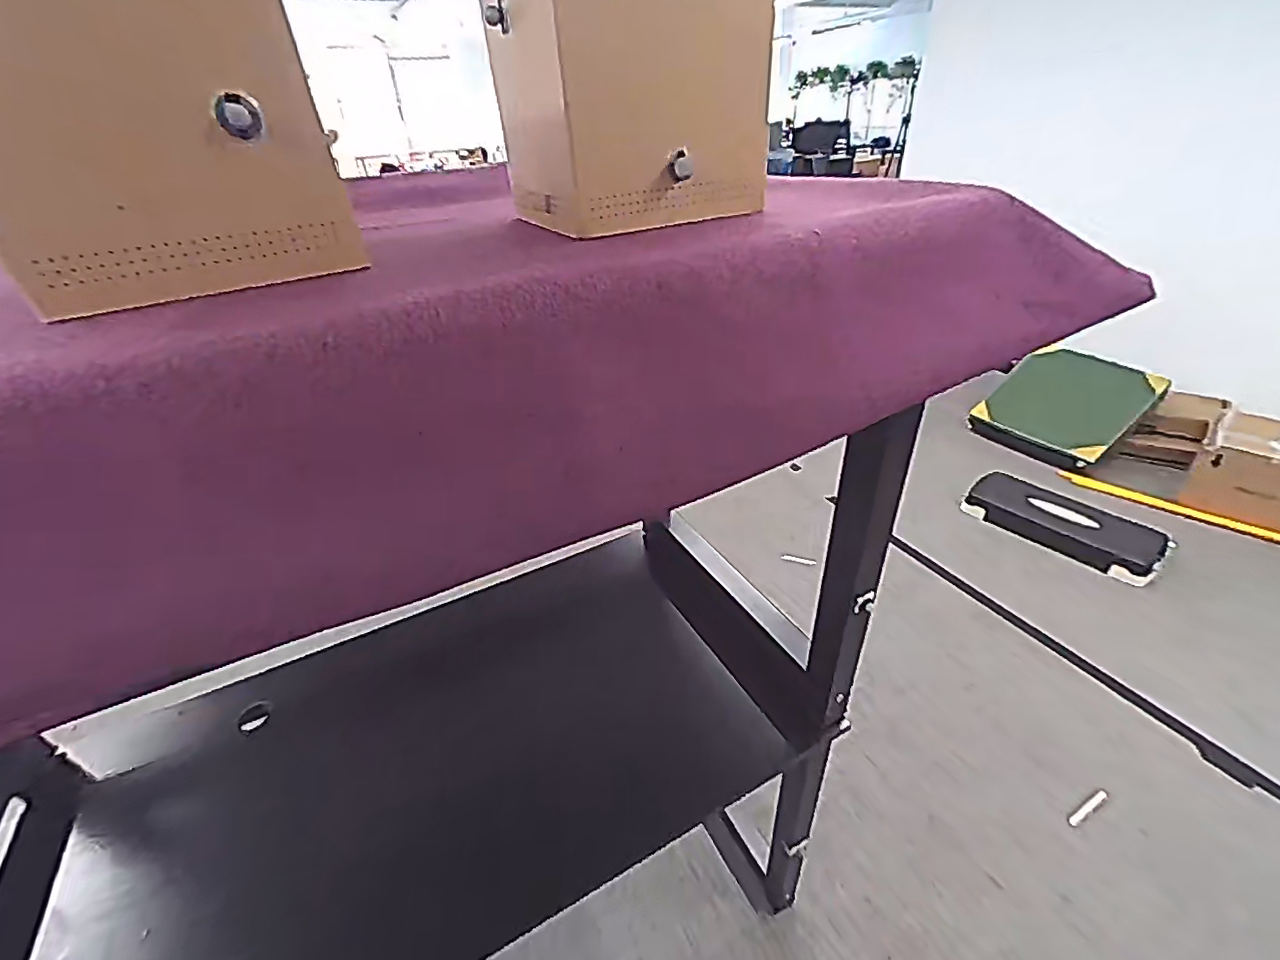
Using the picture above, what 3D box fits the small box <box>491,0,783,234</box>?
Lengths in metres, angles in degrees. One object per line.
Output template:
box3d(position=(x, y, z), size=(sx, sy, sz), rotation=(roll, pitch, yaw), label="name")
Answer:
box3d(position=(-0.008, -0.313, 0.448), size=(0.179, 0.176, 0.168), rotation=(-19, 36, -21), label="small box")

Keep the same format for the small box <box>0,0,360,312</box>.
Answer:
box3d(position=(-0.301, -0.222, 0.346), size=(0.179, 0.176, 0.168), rotation=(-23, 38, -25), label="small box")
